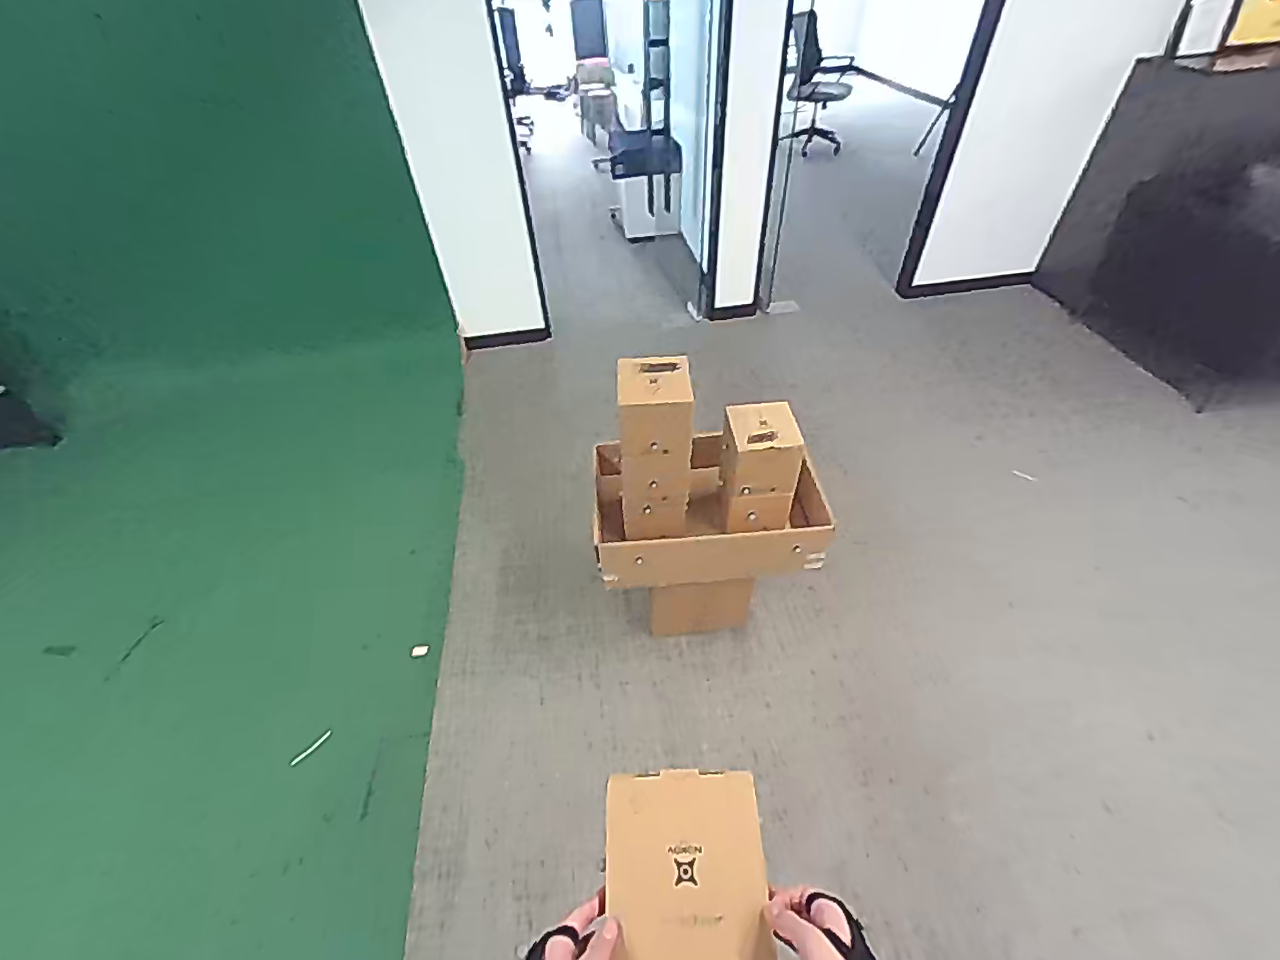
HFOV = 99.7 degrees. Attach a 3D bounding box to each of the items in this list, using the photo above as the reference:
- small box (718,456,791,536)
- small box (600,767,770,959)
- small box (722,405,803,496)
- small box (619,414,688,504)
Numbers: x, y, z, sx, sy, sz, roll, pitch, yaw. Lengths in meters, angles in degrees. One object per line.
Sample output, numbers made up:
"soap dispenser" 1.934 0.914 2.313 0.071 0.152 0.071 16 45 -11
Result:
"small box" 0.315 0.045 1.517 0.168 0.176 0.179 -4 45 0
"small box" 0.046 0.444 0.625 0.168 0.176 0.179 -2 54 2
"small box" 0.309 -0.071 1.400 0.168 0.176 0.179 -4 45 -1
"small box" 0.034 -0.049 1.392 0.168 0.176 0.179 -3 46 -1
